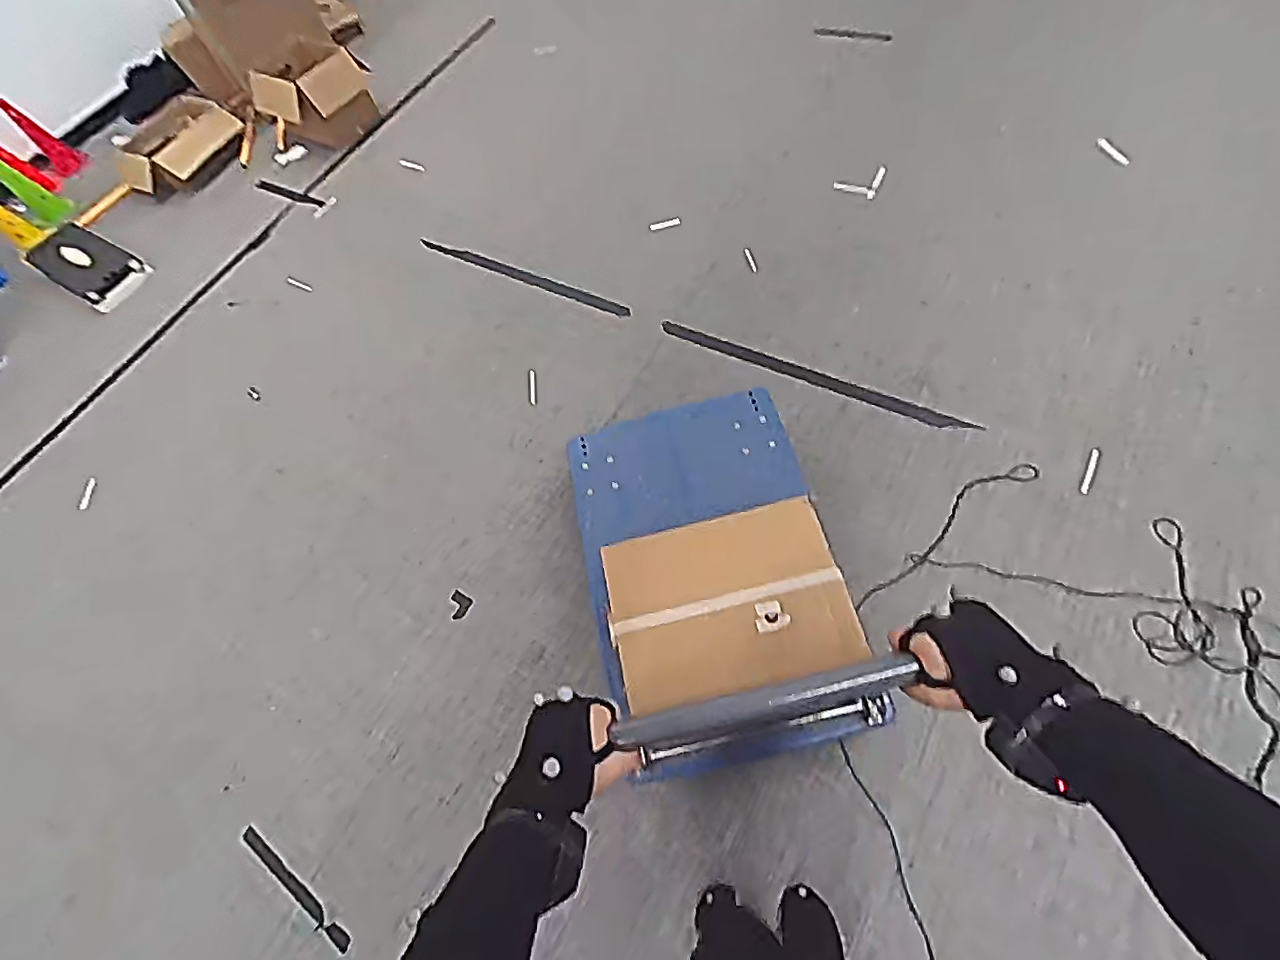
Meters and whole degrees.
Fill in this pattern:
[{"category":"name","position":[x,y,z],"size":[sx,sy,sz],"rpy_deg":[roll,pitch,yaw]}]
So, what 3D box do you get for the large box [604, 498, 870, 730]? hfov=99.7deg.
[{"category":"large box","position":[0.173,0.282,1.079],"size":[0.408,0.320,0.320],"rpy_deg":[-14,62,2]}]
